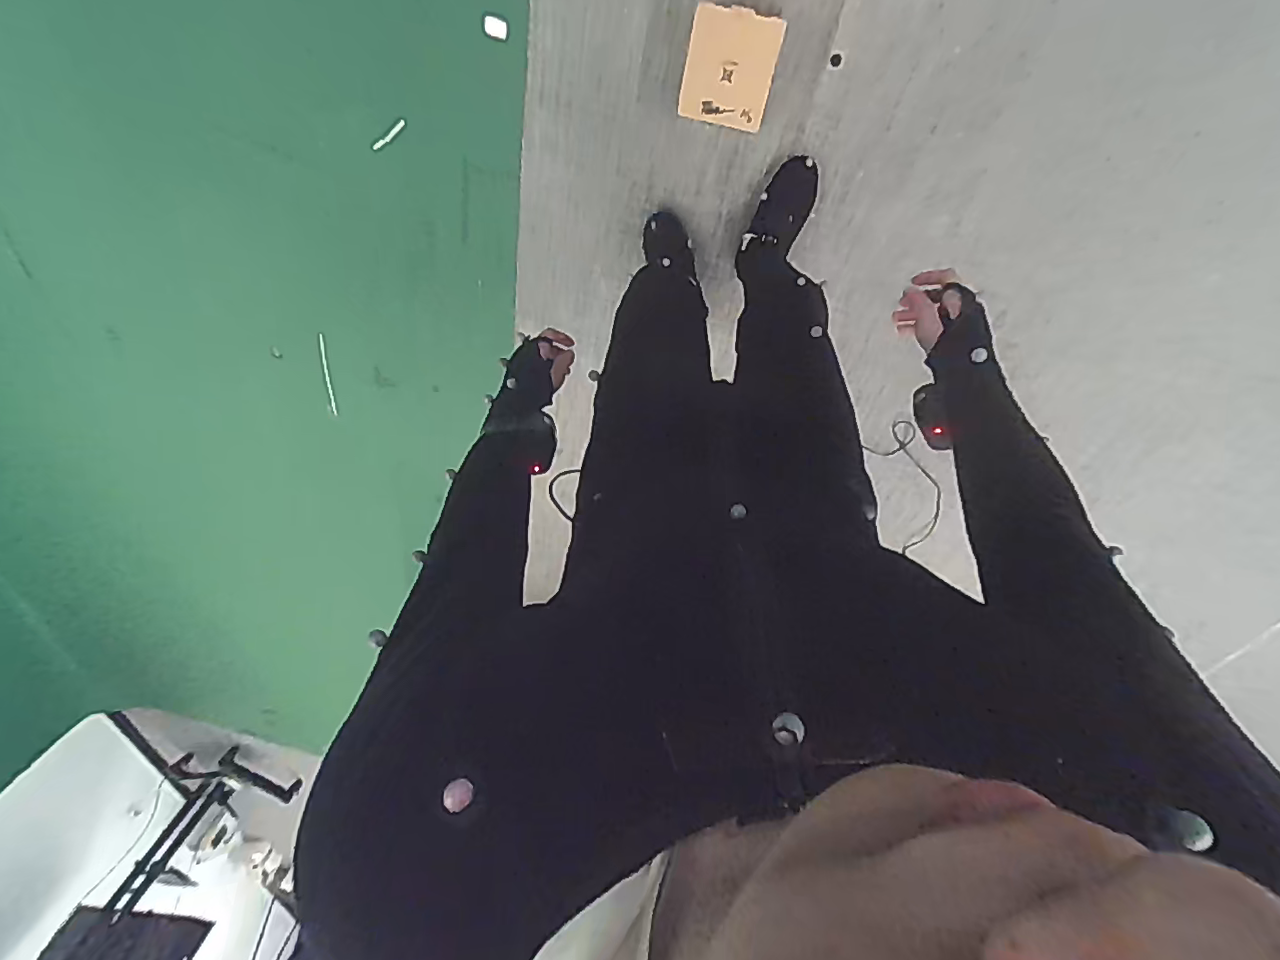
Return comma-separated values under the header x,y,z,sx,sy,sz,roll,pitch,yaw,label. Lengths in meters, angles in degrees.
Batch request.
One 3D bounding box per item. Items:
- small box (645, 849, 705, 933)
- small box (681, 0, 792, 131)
x,y,z,sx,sy,sz,roll,pitch,yaw,label
0.123,1.414,1.863,0.168,0.176,0.179,14,128,4,small box
0.189,-0.813,1.065,0.168,0.176,0.179,16,128,3,small box
